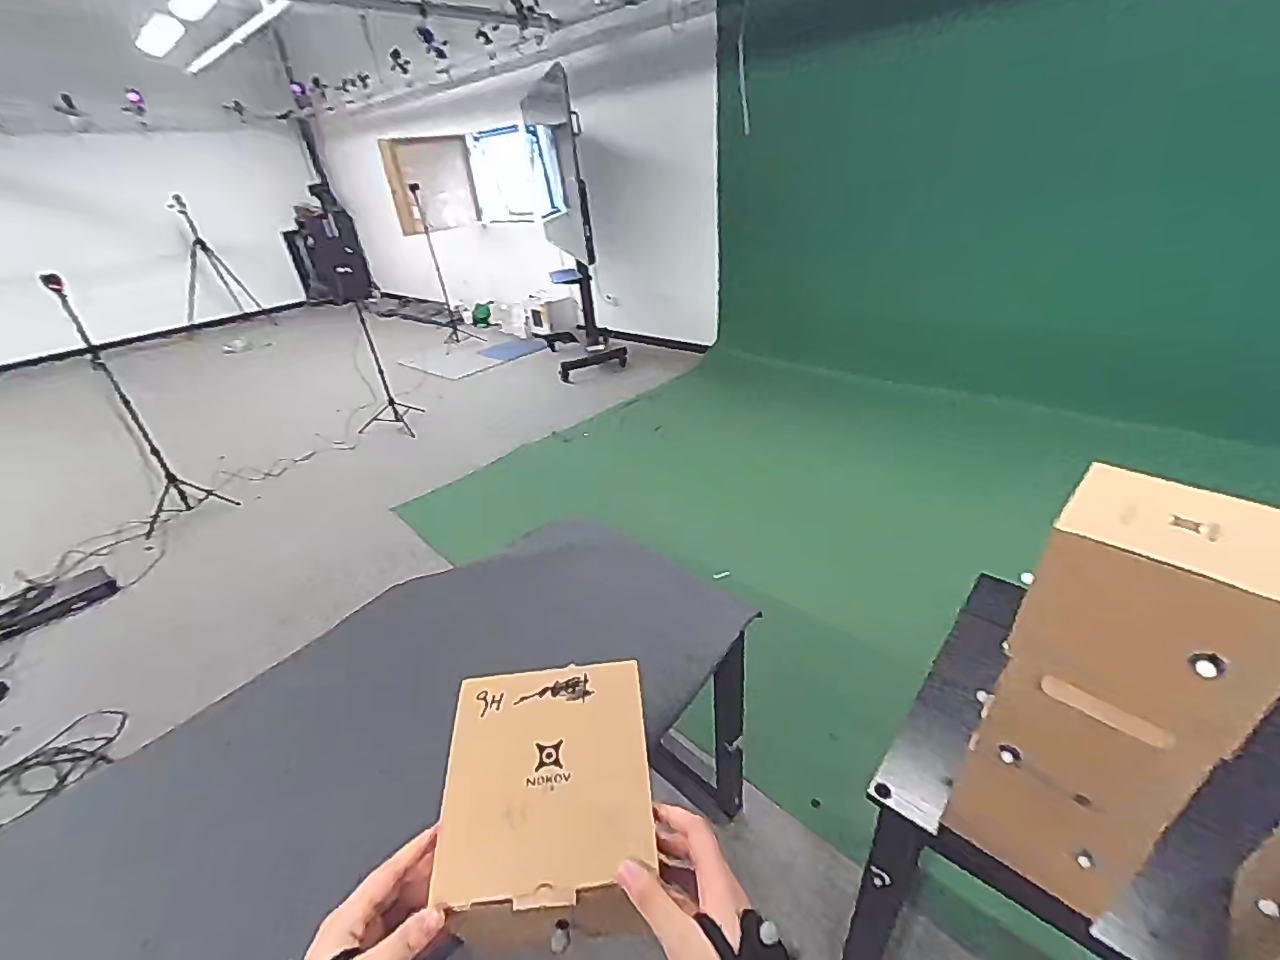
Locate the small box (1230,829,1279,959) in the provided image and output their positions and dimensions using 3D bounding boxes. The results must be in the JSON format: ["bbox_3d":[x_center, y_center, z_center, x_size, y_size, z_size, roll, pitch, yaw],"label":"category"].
[{"bbox_3d":[0.720,0.466,0.518,0.179,0.176,0.168,-30,39,-35],"label":"small box"}]

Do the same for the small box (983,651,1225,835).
[{"bbox_3d":[0.514,0.243,0.607,0.179,0.176,0.168,-30,39,-36],"label":"small box"}]

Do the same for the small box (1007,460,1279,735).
[{"bbox_3d":[0.494,0.108,0.519,0.168,0.176,0.179,-28,37,-36],"label":"small box"}]

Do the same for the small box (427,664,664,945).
[{"bbox_3d":[-0.070,0.294,0.488,0.168,0.176,0.179,-6,43,-2],"label":"small box"}]
